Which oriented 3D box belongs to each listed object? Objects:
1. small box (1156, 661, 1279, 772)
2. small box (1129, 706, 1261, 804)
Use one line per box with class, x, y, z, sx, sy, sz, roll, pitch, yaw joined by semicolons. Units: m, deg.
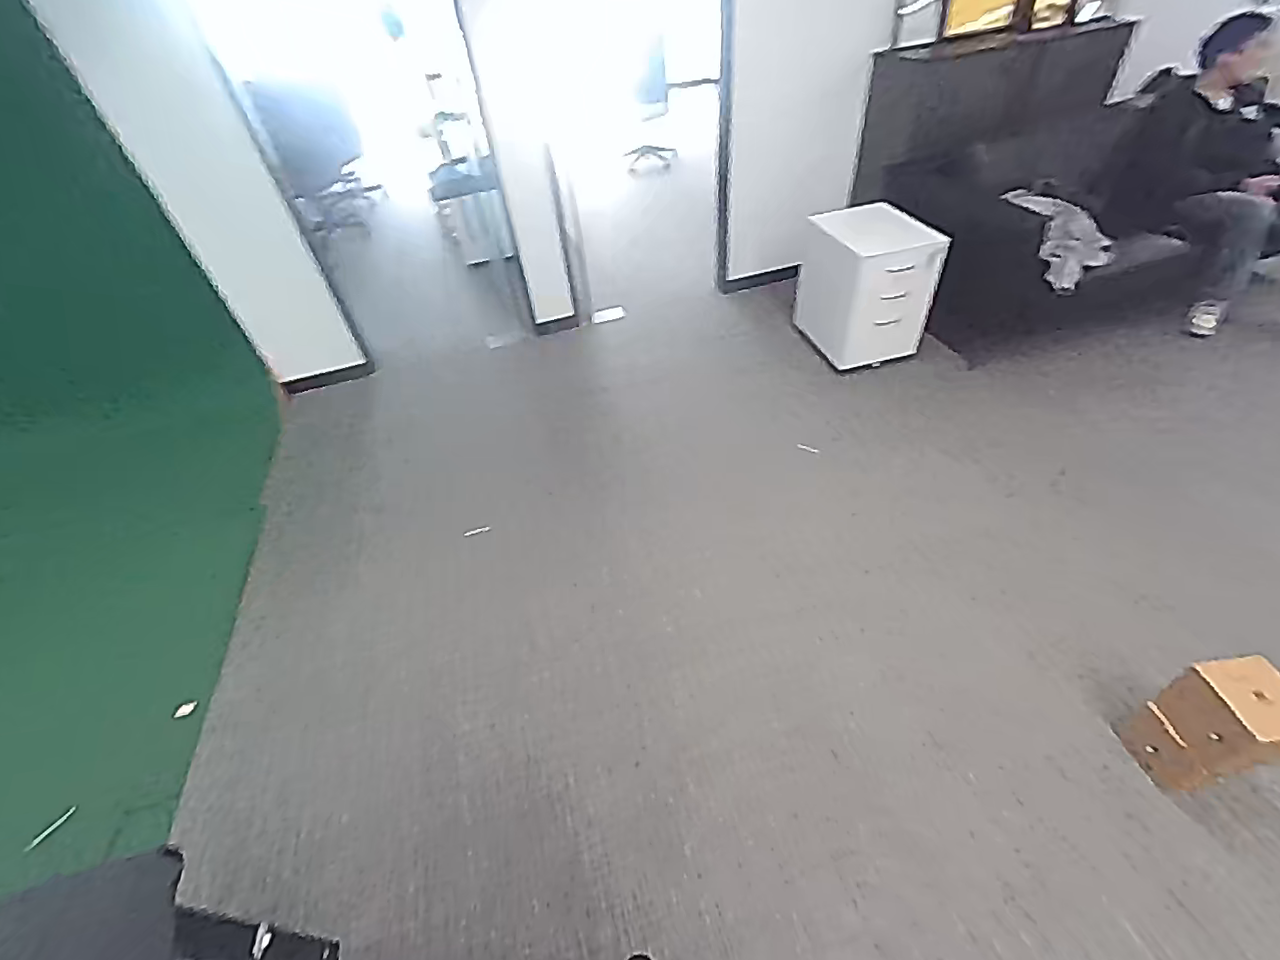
small box;1.330;0.529;1.201;0.168;0.176;0.179;-5;42;0
small box;1.350;0.638;1.311;0.168;0.176;0.179;-31;47;-25
